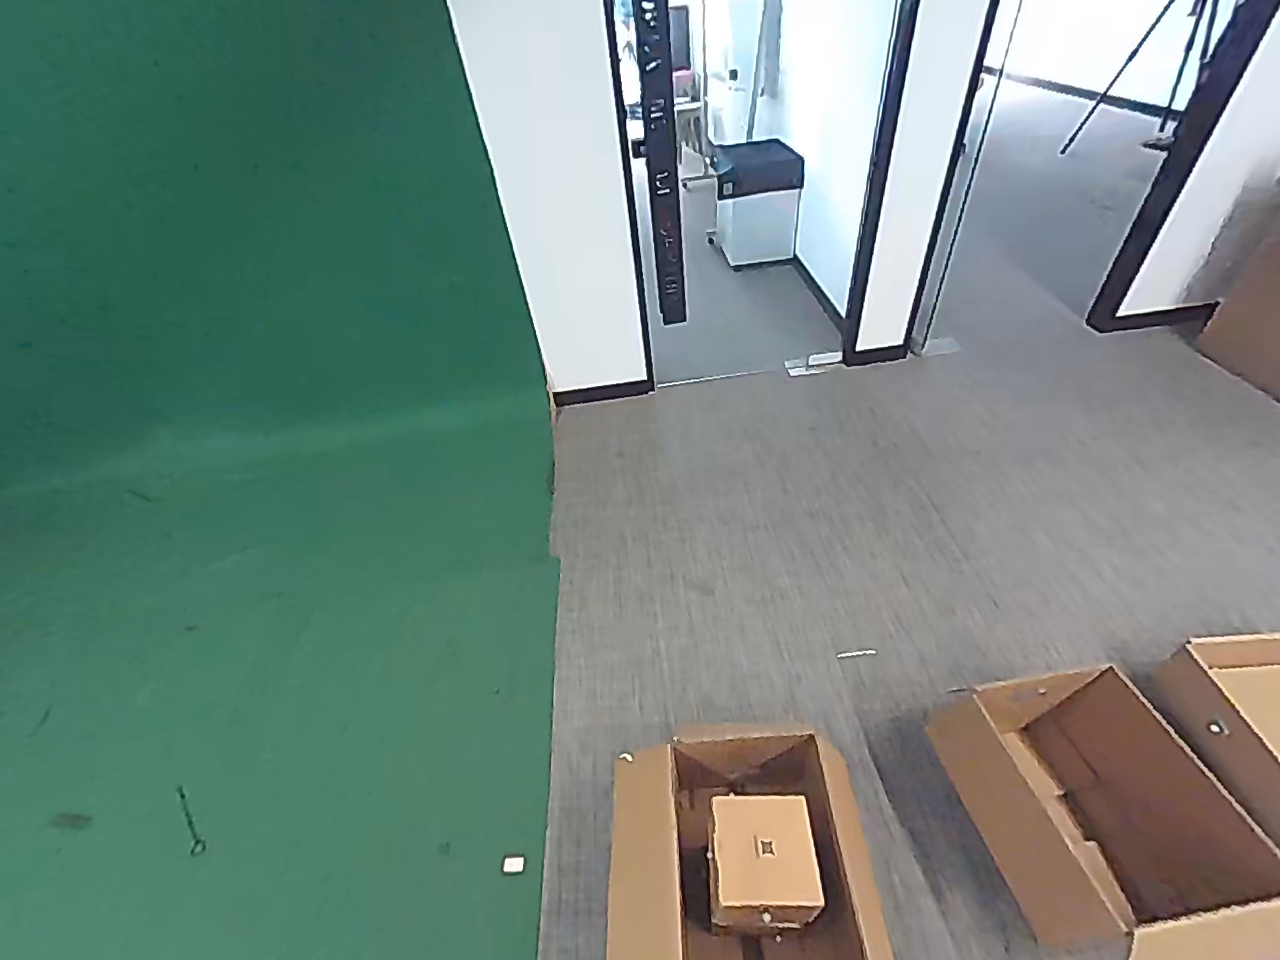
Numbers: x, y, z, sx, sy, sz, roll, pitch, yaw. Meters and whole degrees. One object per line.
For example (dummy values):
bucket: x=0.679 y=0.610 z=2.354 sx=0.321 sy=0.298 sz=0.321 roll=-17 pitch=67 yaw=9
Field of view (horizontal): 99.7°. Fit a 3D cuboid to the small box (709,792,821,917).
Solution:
small box: x=0.223 y=0.703 z=1.016 sx=0.179 sy=0.176 sz=0.168 roll=-3 pitch=43 yaw=4
